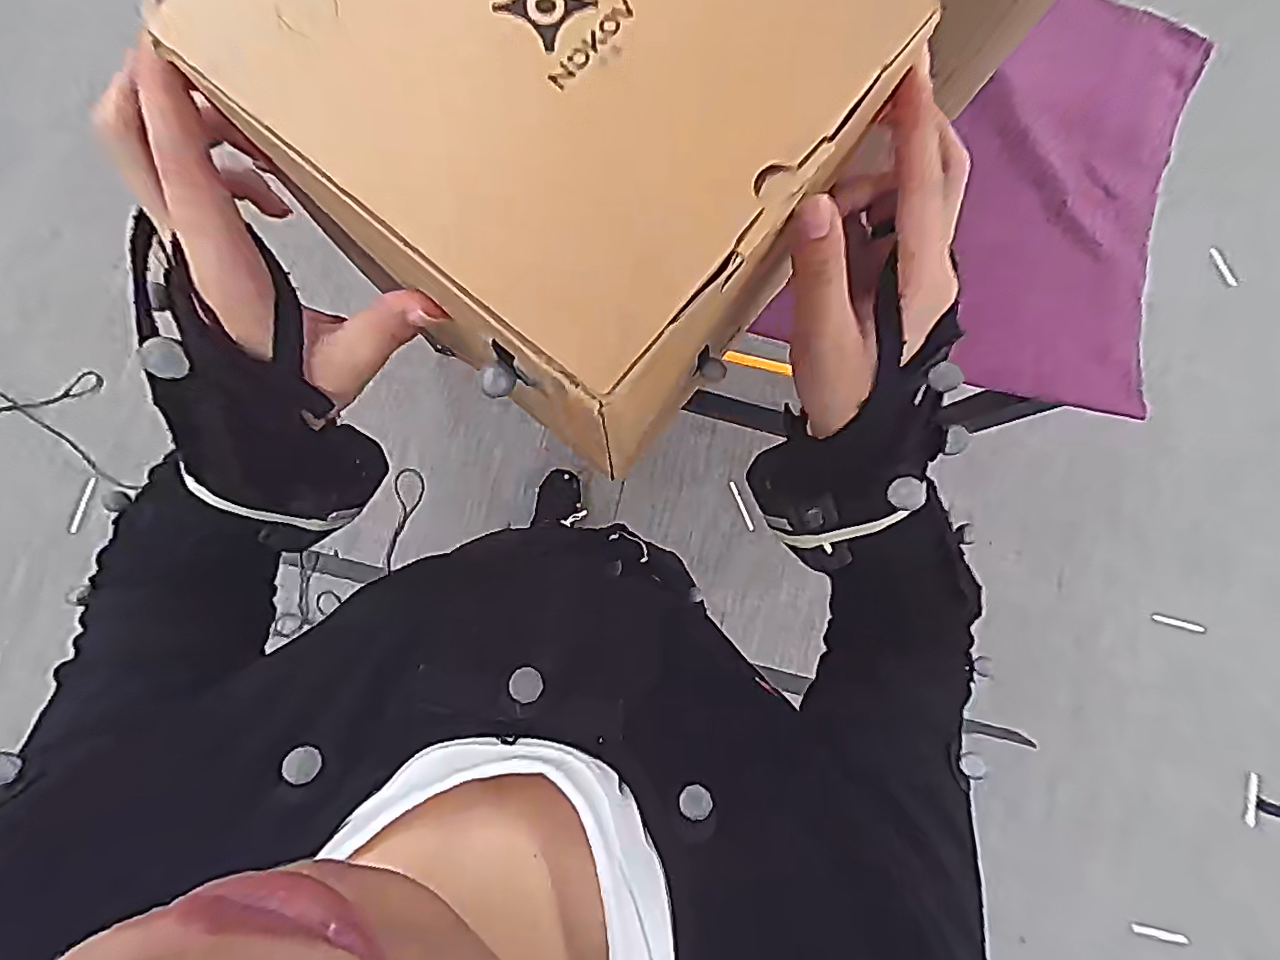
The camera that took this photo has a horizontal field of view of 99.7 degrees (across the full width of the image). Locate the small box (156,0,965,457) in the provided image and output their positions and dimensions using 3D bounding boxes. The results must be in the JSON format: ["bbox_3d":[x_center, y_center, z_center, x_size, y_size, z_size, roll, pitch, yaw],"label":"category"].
[{"bbox_3d":[-0.023,-0.128,0.234,0.179,0.176,0.168,39,83,2],"label":"small box"}]
